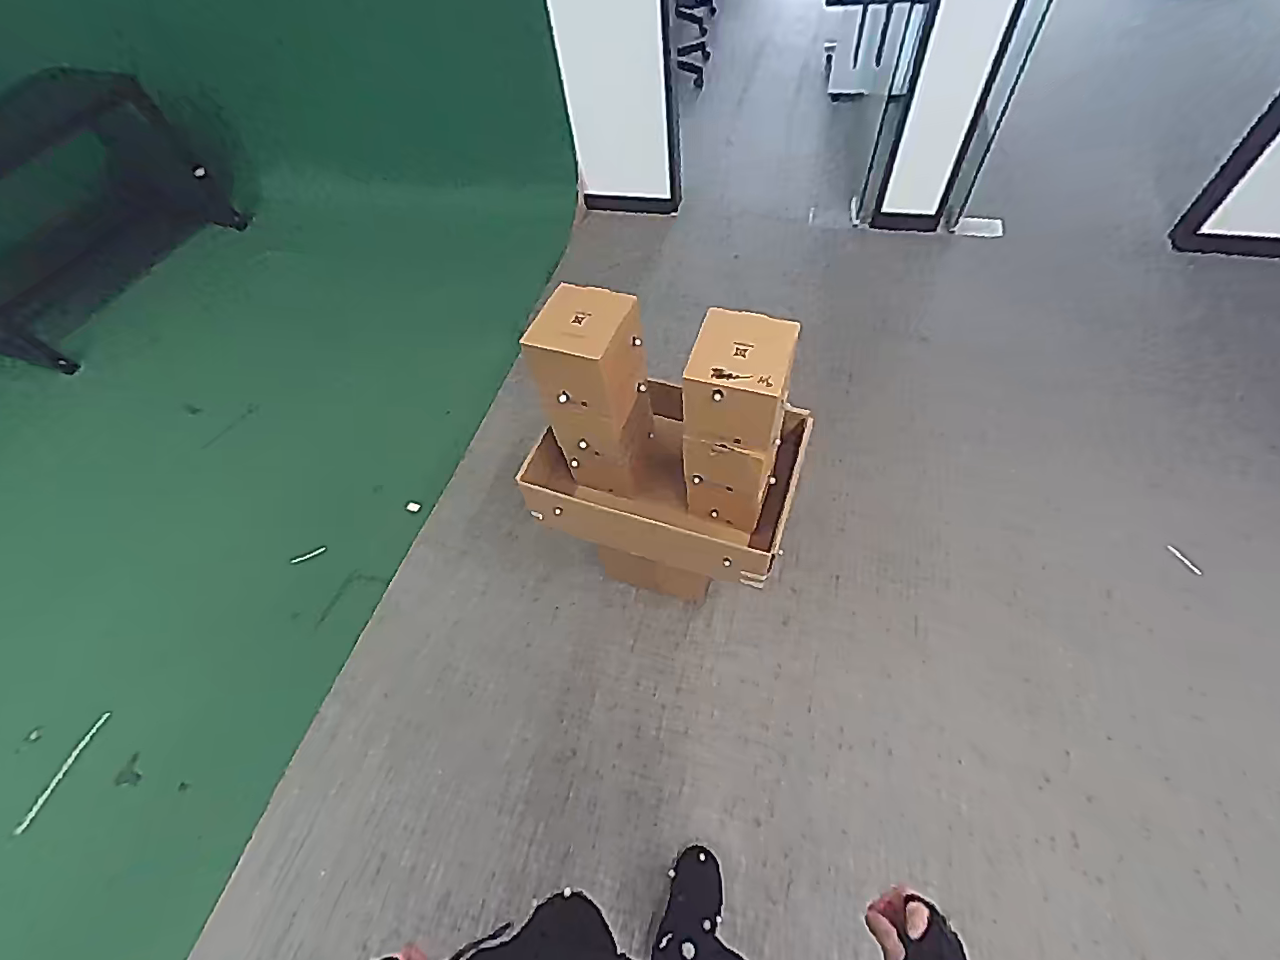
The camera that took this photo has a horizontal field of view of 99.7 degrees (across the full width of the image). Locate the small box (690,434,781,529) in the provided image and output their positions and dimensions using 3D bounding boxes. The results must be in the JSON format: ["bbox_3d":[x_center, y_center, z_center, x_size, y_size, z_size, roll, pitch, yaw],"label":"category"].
[{"bbox_3d":[0.219,-0.014,1.262,0.168,0.176,0.179,15,62,16],"label":"small box"}]

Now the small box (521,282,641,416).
[{"bbox_3d":[-0.104,-0.257,1.066,0.168,0.176,0.179,16,62,18],"label":"small box"}]

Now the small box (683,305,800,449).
[{"bbox_3d":[0.180,-0.185,0.984,0.168,0.176,0.179,14,61,15],"label":"small box"}]

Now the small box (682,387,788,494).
[{"bbox_3d":[0.197,-0.095,1.120,0.168,0.176,0.179,17,62,16],"label":"small box"}]

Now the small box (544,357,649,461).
[{"bbox_3d":[-0.086,-0.172,1.204,0.168,0.176,0.179,16,62,18],"label":"small box"}]
